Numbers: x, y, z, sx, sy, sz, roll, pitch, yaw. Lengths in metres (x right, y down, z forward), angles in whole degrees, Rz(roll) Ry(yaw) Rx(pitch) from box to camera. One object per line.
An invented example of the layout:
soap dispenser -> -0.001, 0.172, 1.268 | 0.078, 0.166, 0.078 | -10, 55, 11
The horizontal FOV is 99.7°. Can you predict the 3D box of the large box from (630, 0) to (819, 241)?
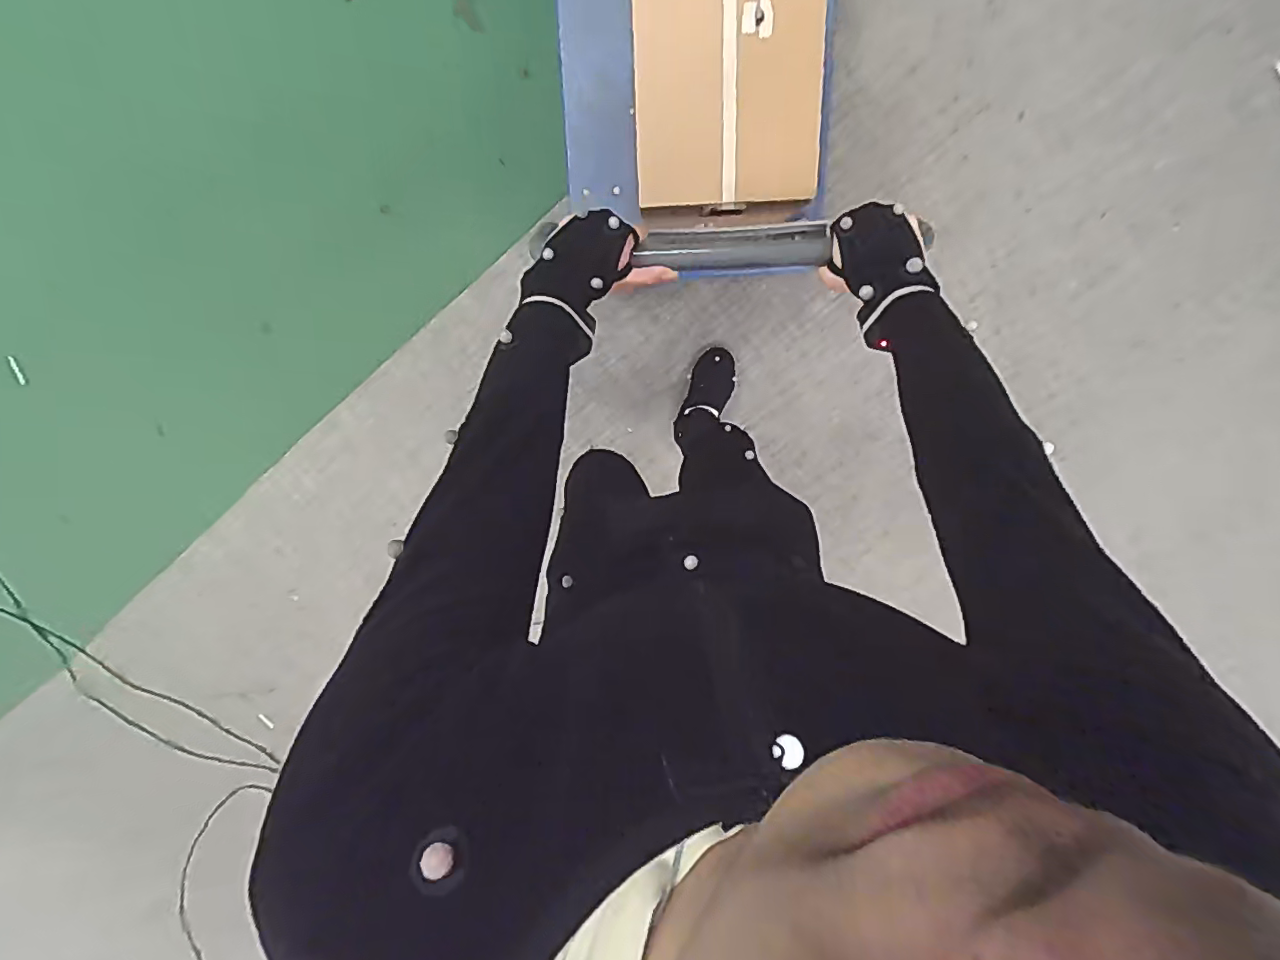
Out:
large box -> 0.152, -0.717, 1.065 | 0.320, 0.320, 0.408 | -2, 106, 3
